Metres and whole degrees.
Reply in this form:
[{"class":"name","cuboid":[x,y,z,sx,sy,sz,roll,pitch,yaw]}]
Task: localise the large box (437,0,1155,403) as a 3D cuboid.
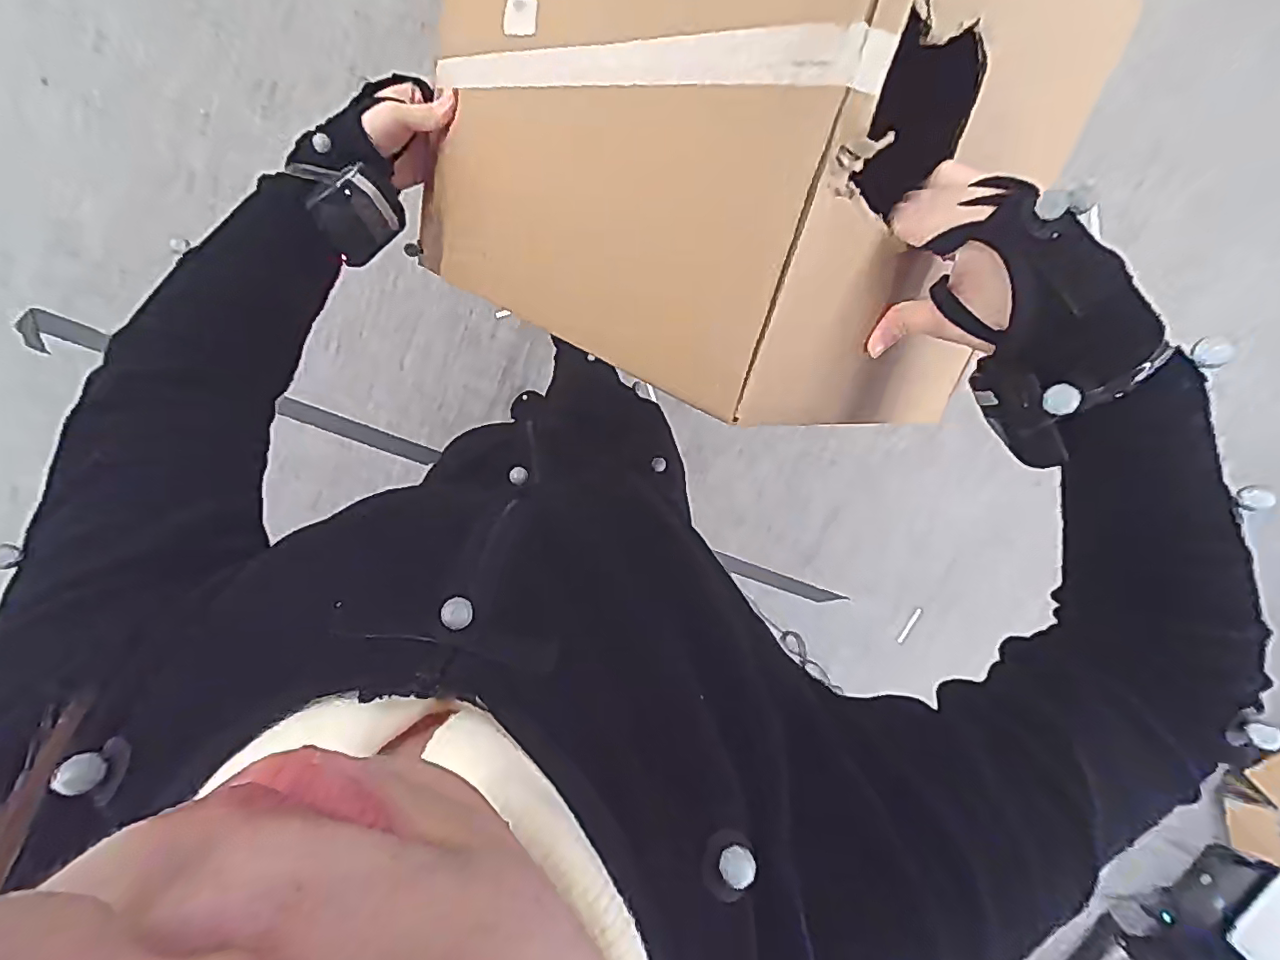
[{"class":"large box","cuboid":[0.081,-0.269,0.434,0.320,0.408,0.320,-5,120,-44]}]
